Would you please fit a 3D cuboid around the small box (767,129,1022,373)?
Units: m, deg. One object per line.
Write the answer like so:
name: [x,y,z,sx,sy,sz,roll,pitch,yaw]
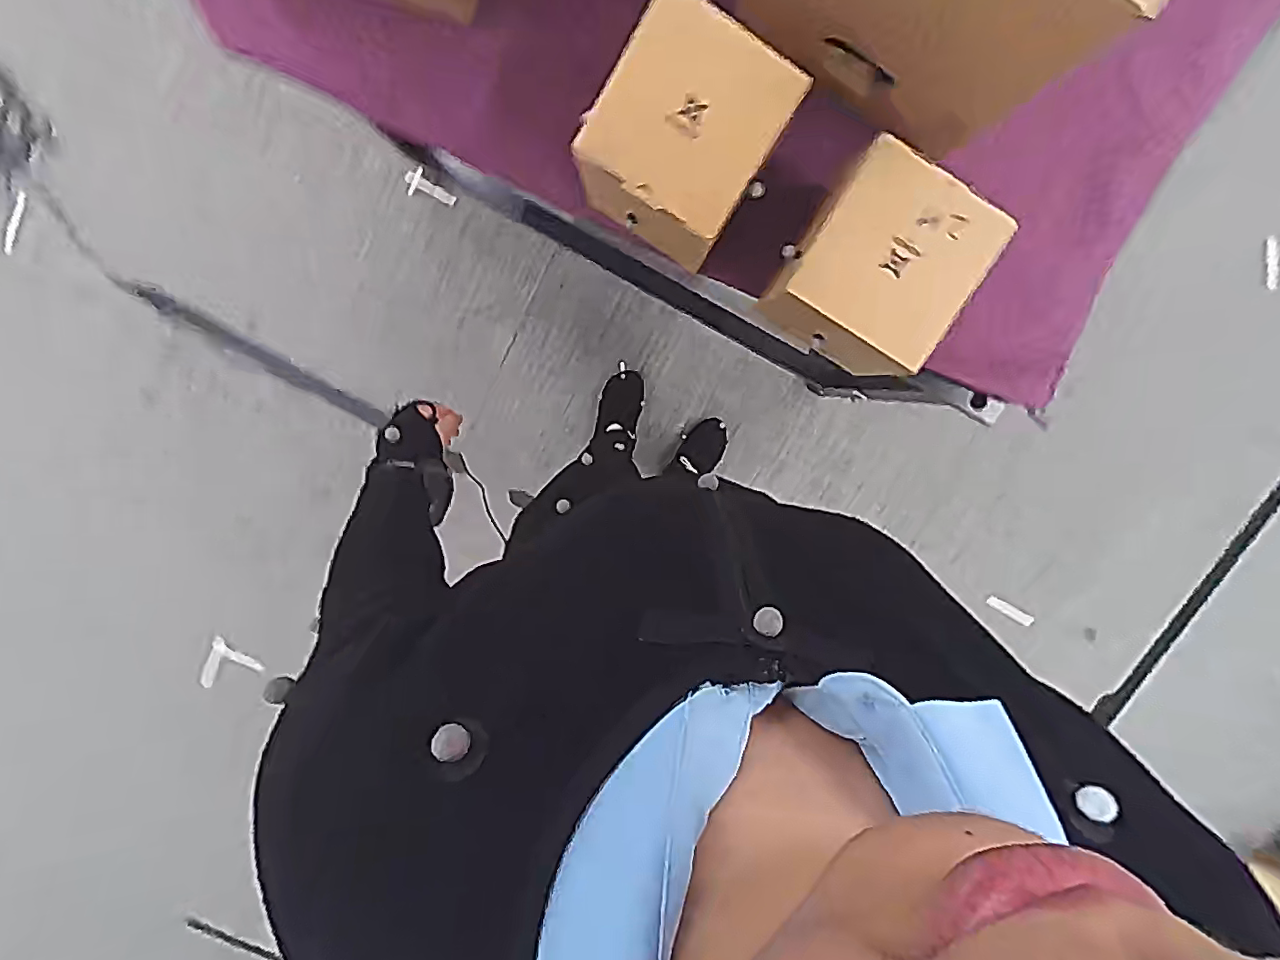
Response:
small box: [0.263,-0.236,0.614,0.168,0.176,0.179,32,98,-6]
